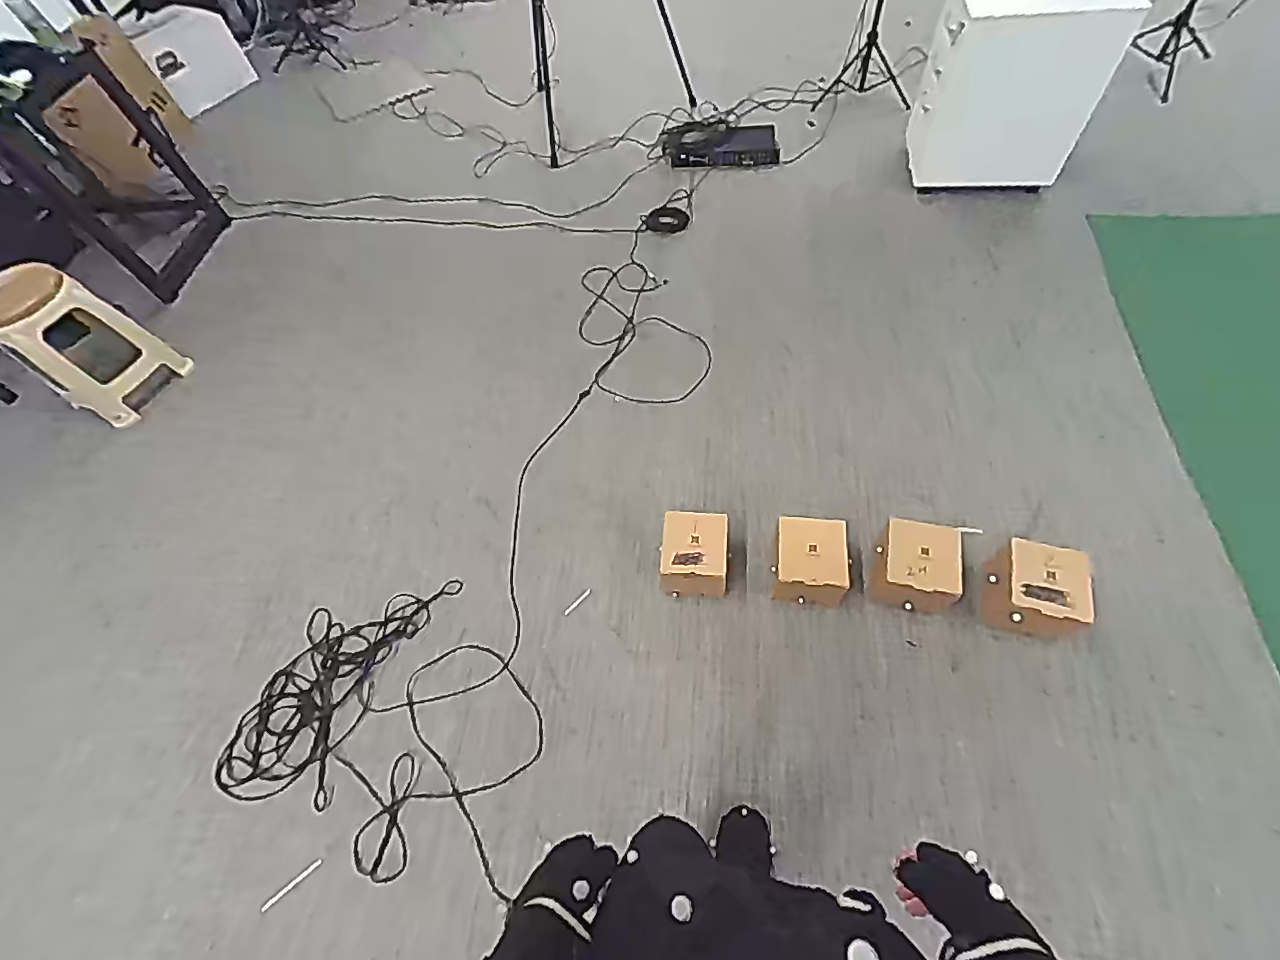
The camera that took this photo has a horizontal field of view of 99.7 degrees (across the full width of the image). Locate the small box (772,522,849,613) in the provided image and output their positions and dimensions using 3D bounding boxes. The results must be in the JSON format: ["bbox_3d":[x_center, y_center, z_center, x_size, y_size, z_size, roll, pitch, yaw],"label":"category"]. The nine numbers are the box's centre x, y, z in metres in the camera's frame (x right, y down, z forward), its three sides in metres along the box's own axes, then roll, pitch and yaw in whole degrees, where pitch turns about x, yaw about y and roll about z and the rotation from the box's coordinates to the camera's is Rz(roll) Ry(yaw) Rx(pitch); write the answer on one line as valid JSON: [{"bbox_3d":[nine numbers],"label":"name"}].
[{"bbox_3d":[0.434,0.229,1.400,0.168,0.176,0.179,3,60,9],"label":"small box"}]

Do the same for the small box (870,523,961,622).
[{"bbox_3d":[0.688,0.235,1.363,0.168,0.176,0.179,10,61,13],"label":"small box"}]

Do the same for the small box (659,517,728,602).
[{"bbox_3d":[0.147,0.216,1.442,0.168,0.176,0.179,2,58,9],"label":"small box"}]
